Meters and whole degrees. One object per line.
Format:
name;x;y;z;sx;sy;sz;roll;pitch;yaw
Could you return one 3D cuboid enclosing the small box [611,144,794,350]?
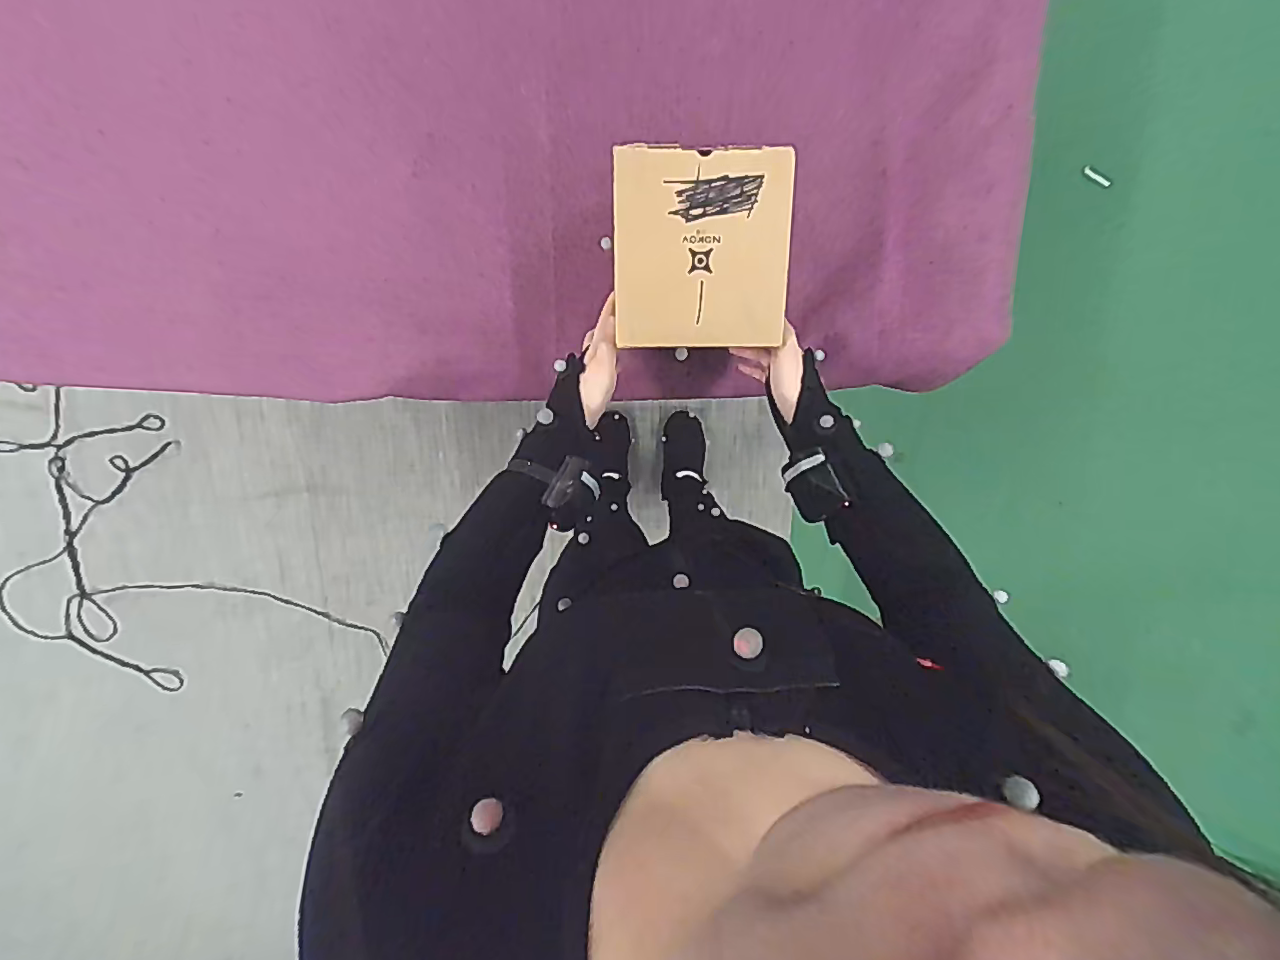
small box;0.053;-0.230;0.572;0.168;0.176;0.179;0;105;-1
